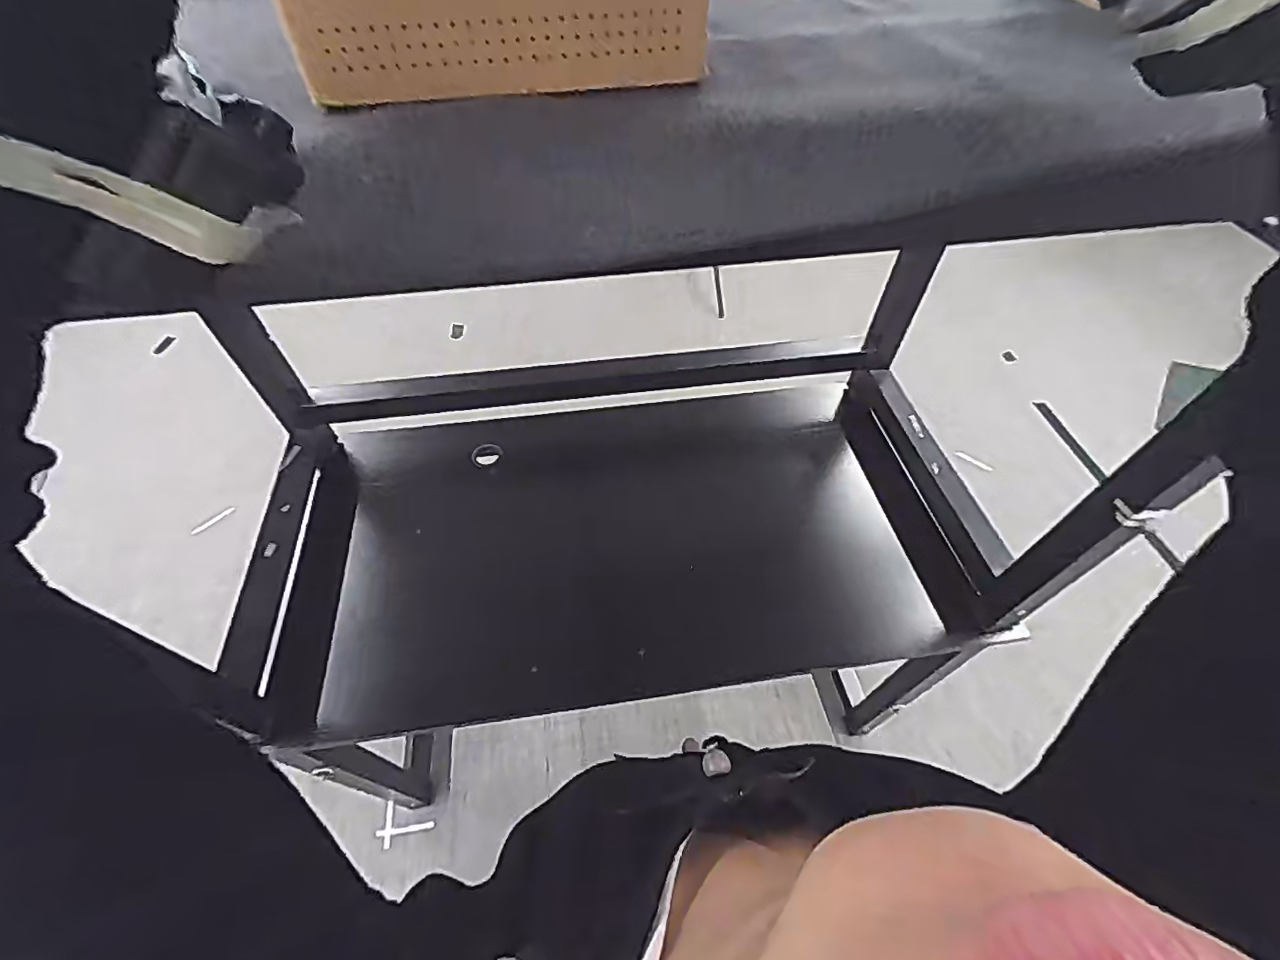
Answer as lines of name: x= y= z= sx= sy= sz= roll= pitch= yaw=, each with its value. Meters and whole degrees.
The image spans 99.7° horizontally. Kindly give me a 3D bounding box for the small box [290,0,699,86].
small box: x=-0.071 y=-0.290 z=0.229 sx=0.179 sy=0.176 sz=0.168 roll=-9 pitch=52 yaw=-7
